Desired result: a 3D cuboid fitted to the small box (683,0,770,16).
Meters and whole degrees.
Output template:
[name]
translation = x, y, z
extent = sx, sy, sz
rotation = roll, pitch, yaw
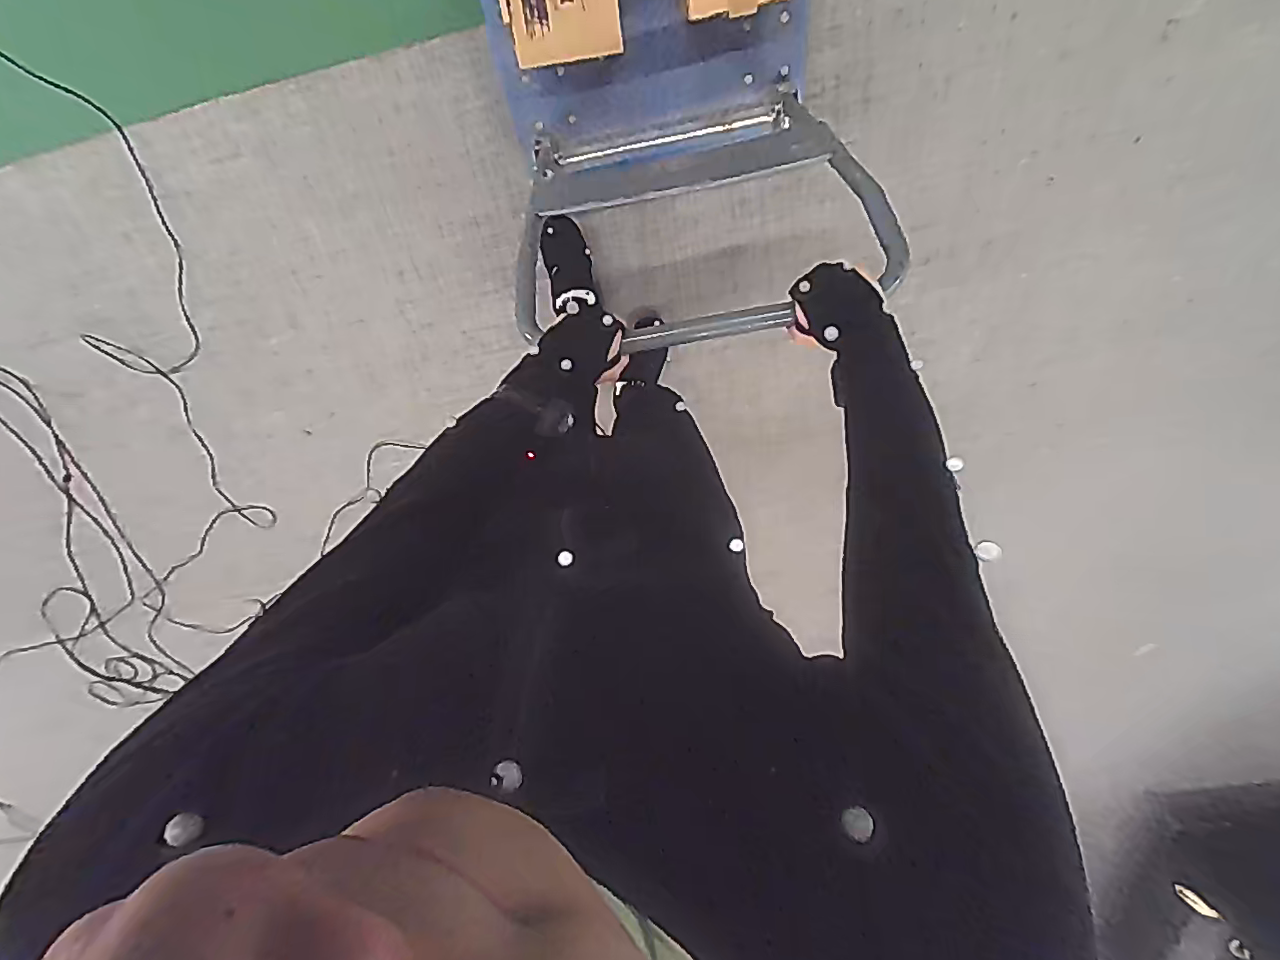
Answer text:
[small box]
translation = 0.144, -0.859, 0.845
extent = 0.168, 0.176, 0.179
rotation = -9, 135, 5
